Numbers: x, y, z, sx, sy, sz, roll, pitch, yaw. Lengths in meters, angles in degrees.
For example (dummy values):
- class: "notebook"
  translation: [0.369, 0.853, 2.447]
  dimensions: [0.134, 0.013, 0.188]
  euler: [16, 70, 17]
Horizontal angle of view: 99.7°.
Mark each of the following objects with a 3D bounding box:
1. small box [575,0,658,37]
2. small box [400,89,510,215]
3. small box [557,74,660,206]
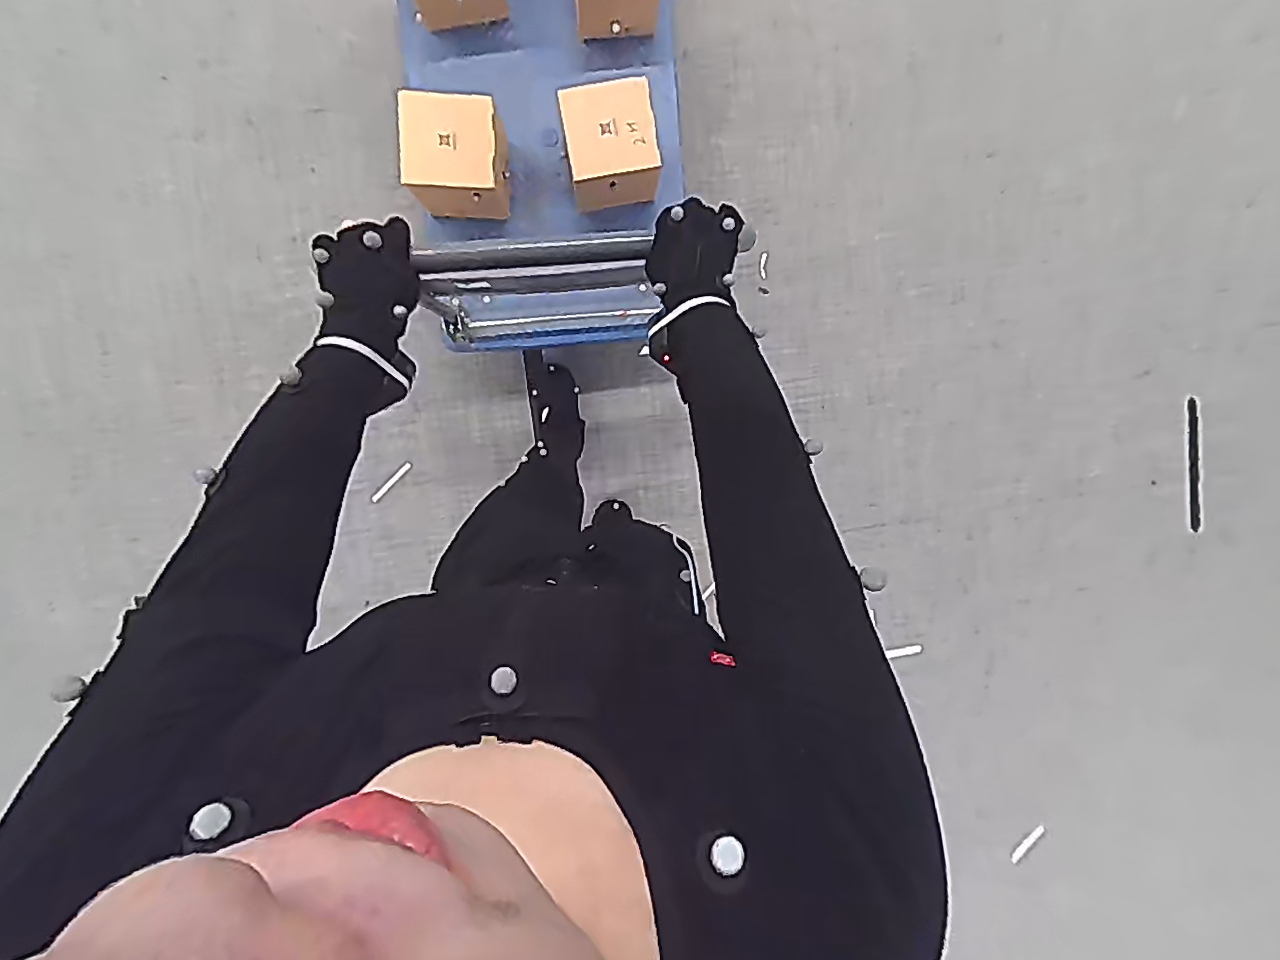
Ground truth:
- class: "small box"
  translation: [-0.053, -1.029, 1.068]
  dimensions: [0.168, 0.176, 0.179]
  euler: [-7, 99, -3]
- class: "small box"
  translation: [-0.367, -0.654, 1.098]
  dimensions: [0.179, 0.176, 0.168]
  euler: [0, 97, -5]
- class: "small box"
  translation: [-0.062, -0.686, 1.113]
  dimensions: [0.179, 0.176, 0.168]
  euler: [-11, 98, -2]
